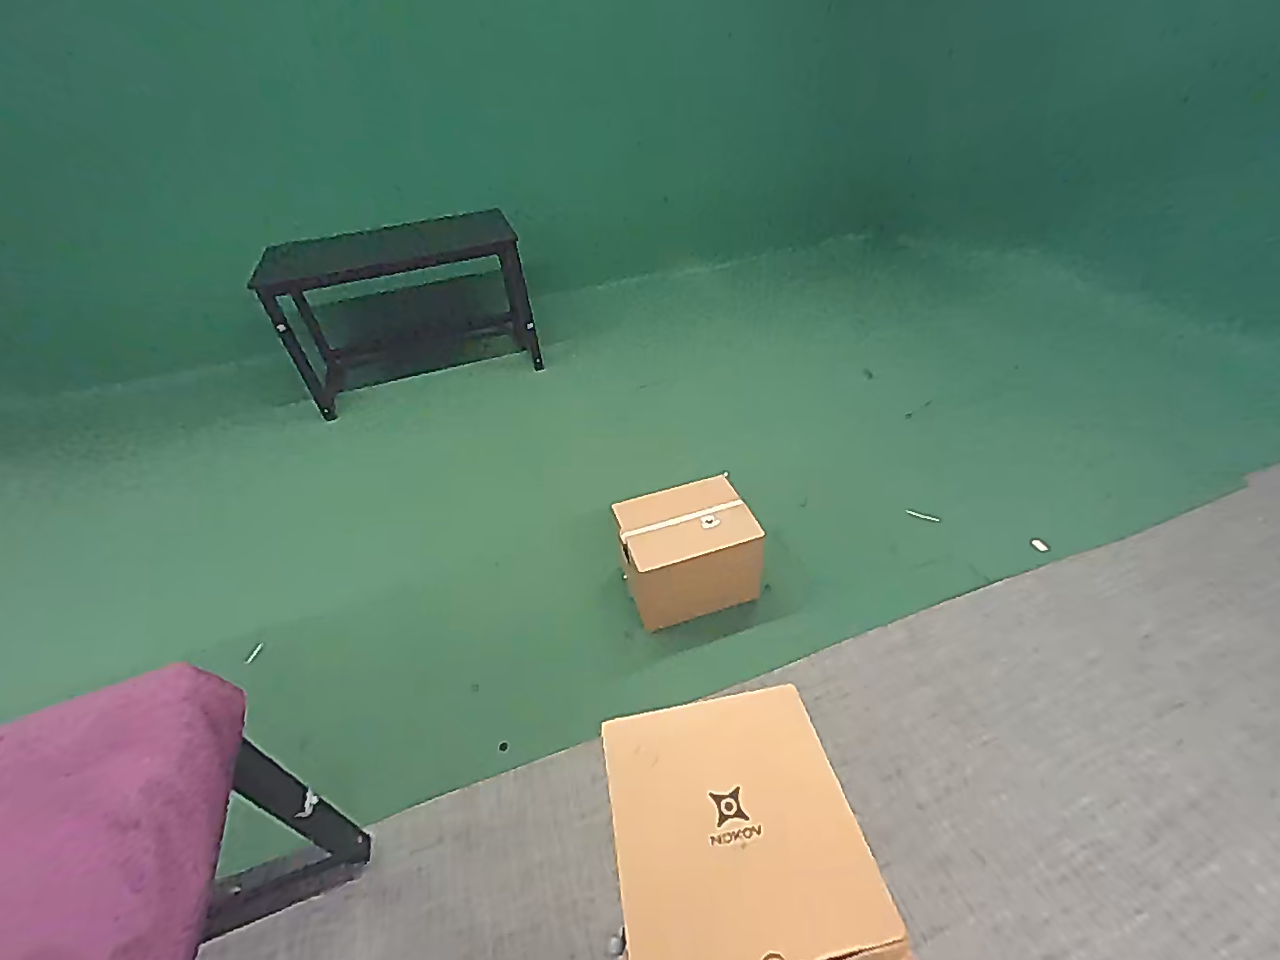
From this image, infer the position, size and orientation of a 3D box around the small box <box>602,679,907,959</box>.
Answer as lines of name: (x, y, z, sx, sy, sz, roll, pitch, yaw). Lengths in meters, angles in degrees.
small box: (0.065, 0.289, 0.415, 0.168, 0.176, 0.179, -9, 36, -6)

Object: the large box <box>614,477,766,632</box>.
large box: (0.157, 0.242, 1.785, 0.408, 0.320, 0.320, -14, 41, -11)
